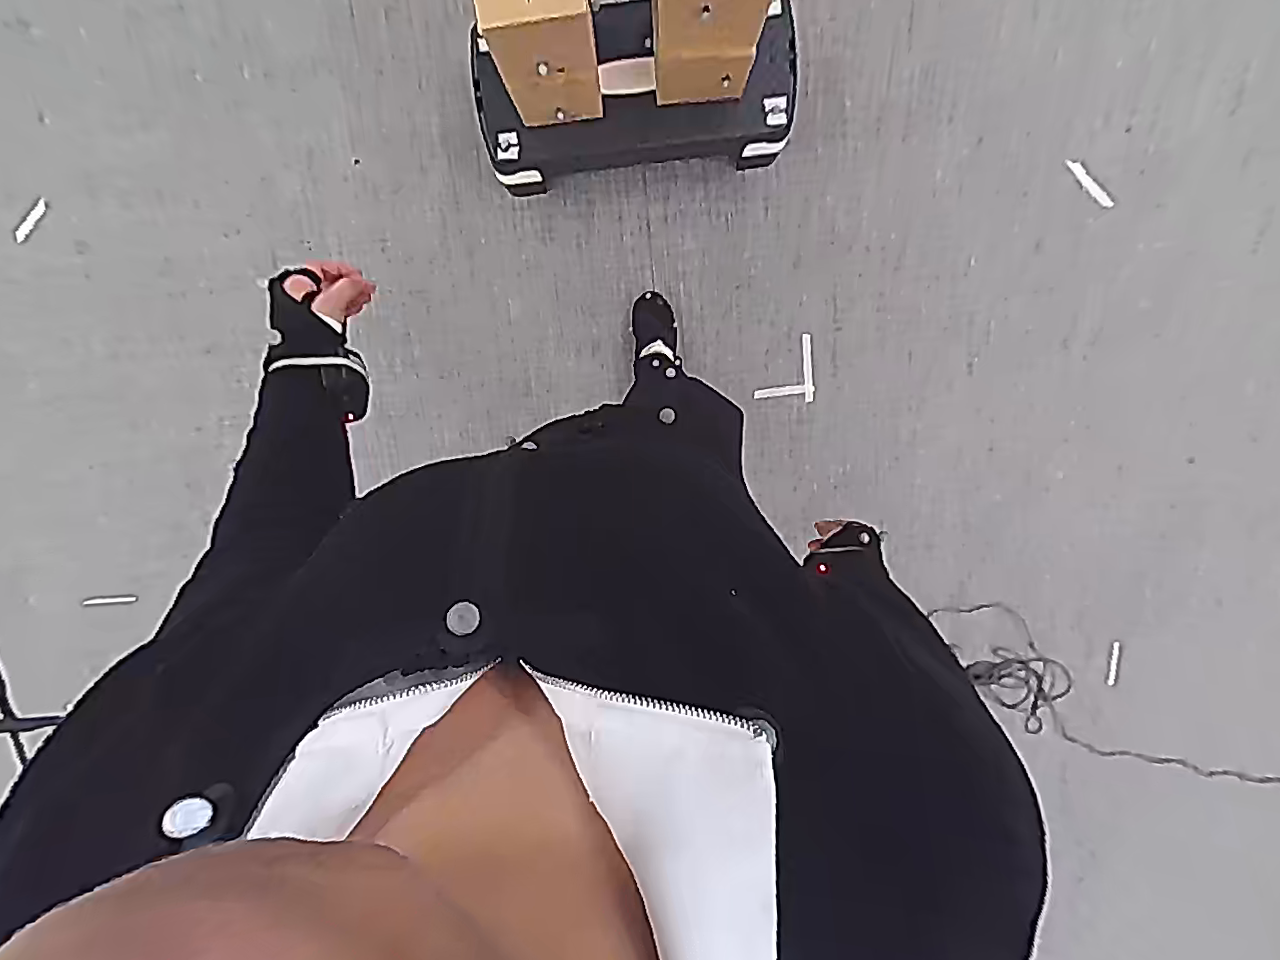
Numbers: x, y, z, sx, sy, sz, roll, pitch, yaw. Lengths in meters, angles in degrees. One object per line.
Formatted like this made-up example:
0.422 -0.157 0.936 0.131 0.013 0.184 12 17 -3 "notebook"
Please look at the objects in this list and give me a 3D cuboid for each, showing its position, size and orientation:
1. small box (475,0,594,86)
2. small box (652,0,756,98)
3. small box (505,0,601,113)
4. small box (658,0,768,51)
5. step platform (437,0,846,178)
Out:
-0.169 -0.772 0.858 0.168 0.176 0.179 -8 103 1 "small box"
0.113 -0.834 1.014 0.179 0.176 0.168 -3 102 1 "small box"
-0.166 -0.802 1.019 0.168 0.176 0.179 -6 102 1 "small box"
0.114 -0.815 0.852 0.179 0.176 0.168 -2 102 2 "small box"
0.002 -0.765 0.992 0.684 0.204 0.286 -6 102 1 "step platform"
